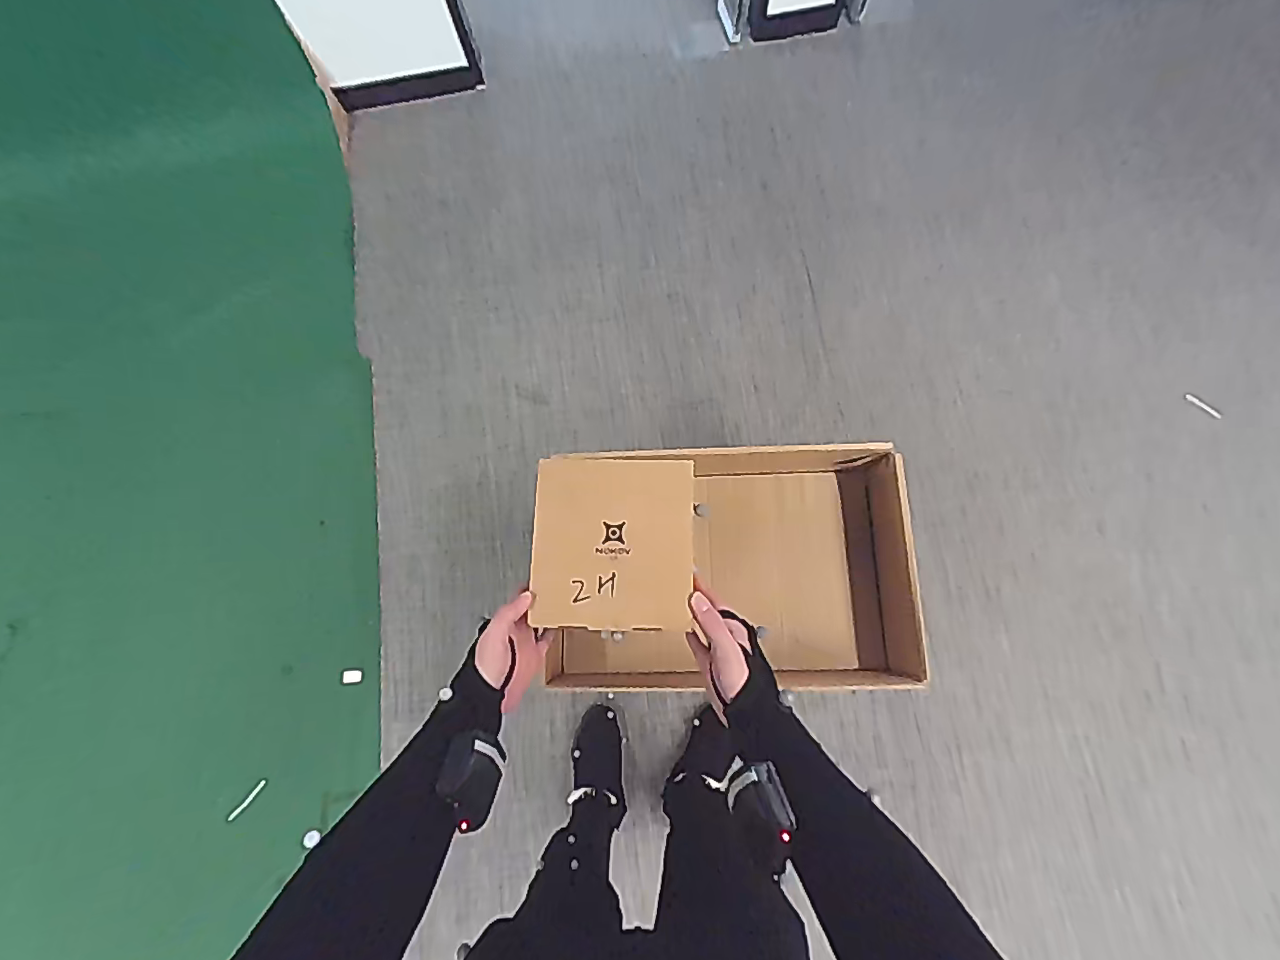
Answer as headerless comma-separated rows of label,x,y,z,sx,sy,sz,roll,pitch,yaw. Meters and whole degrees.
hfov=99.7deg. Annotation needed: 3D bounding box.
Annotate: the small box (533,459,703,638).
small box,-0.018,0.083,0.620,0.168,0.176,0.179,2,78,3
